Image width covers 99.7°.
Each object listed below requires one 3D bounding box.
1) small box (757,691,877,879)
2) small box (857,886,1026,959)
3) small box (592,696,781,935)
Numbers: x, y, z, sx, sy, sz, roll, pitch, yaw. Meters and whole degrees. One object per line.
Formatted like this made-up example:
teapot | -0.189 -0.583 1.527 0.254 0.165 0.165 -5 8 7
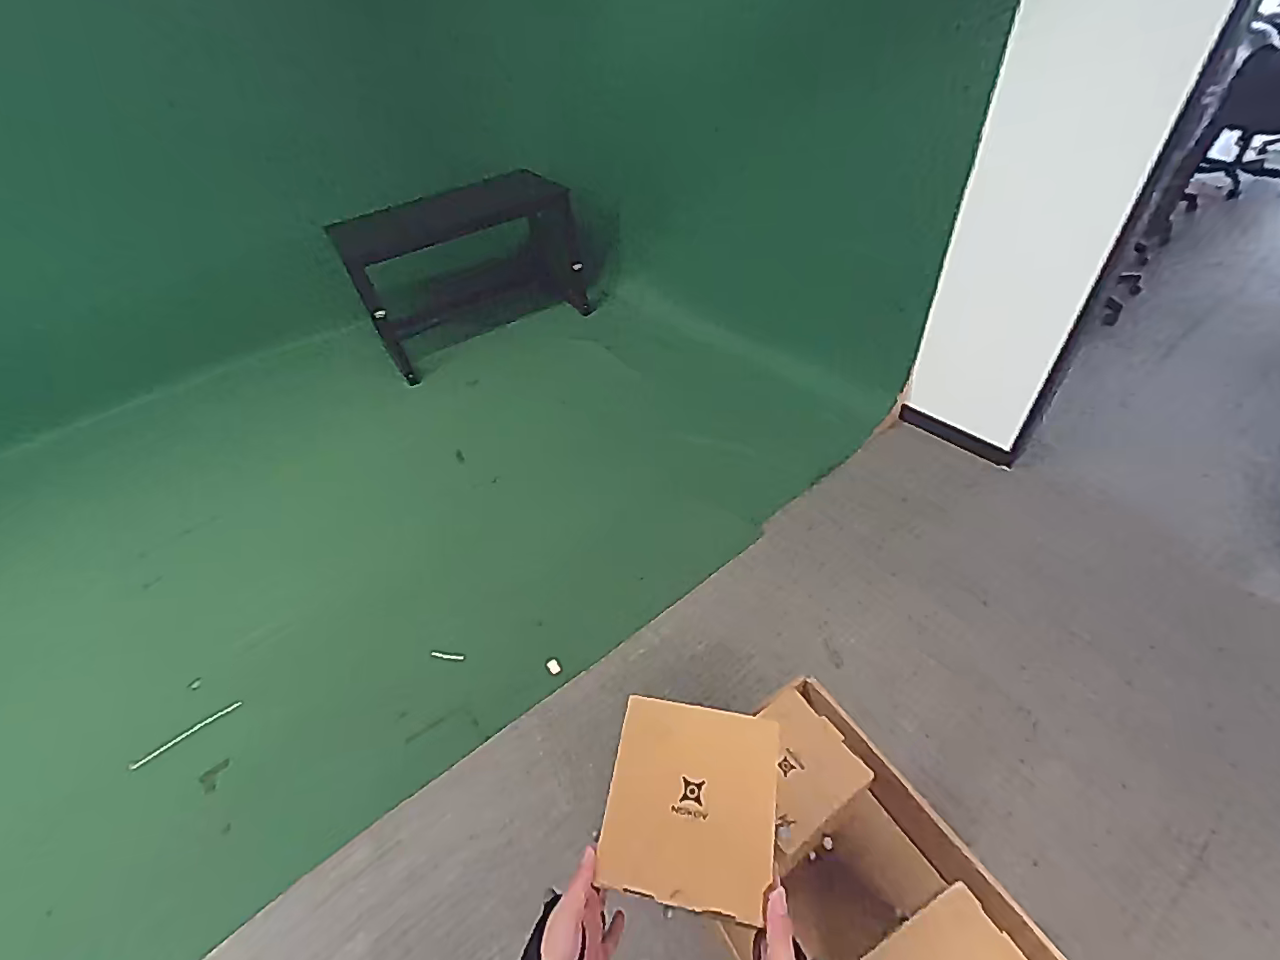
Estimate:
small box | 0.232 0.478 0.850 0.179 0.176 0.168 -27 46 -20
small box | 0.378 0.645 0.661 0.179 0.176 0.168 -24 46 -15
small box | 0.056 0.361 0.588 0.168 0.176 0.179 6 53 11
